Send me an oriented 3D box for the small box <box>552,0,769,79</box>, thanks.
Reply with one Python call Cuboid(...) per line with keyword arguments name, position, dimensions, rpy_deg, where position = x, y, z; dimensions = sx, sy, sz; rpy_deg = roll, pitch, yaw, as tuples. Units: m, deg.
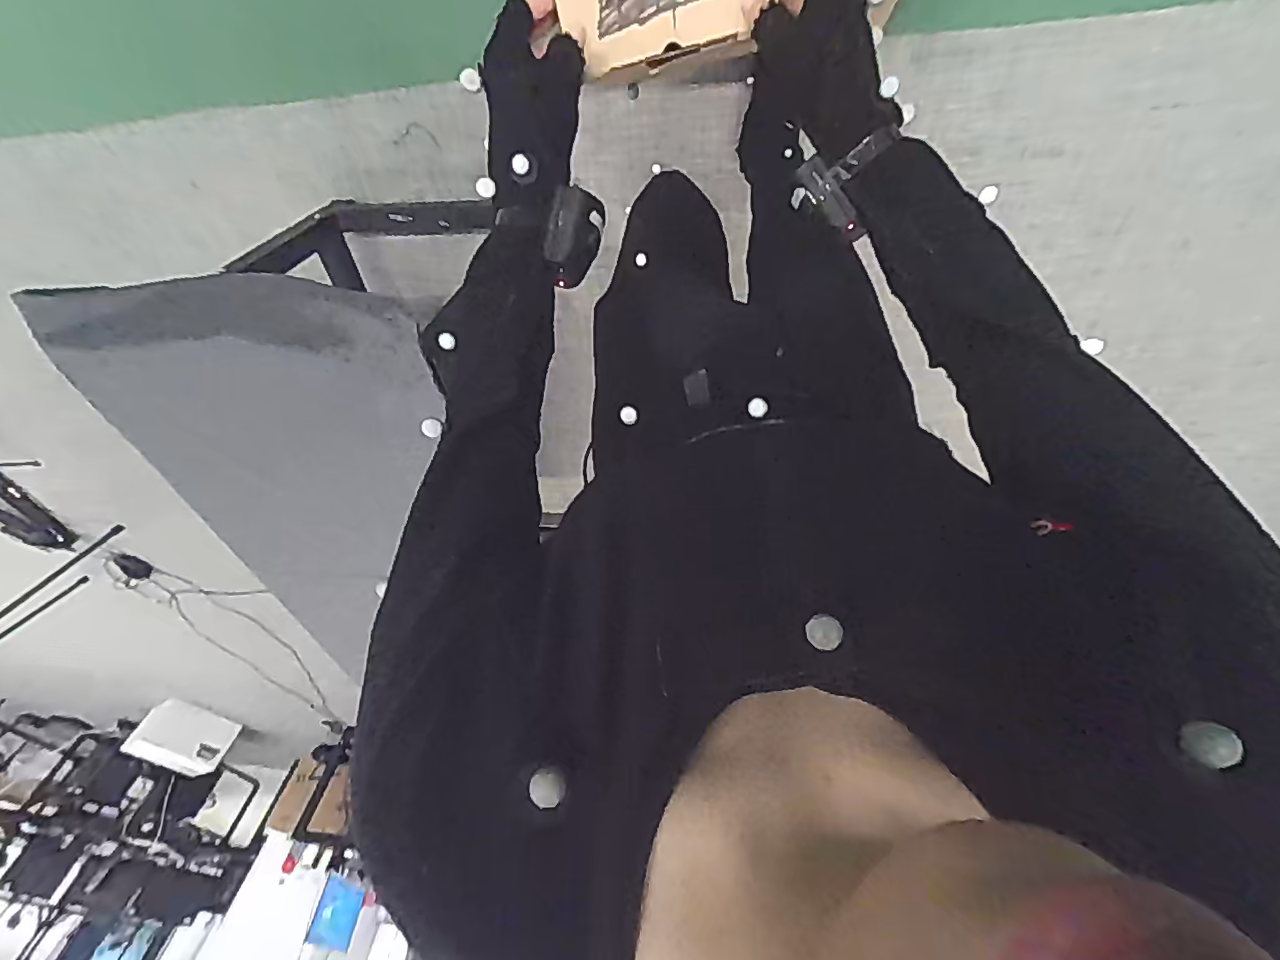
Cuboid(name="small box", position=(0.014, -0.453, 0.446), dimensions=(0.168, 0.176, 0.179), rpy_deg=(-6, 122, 12))
